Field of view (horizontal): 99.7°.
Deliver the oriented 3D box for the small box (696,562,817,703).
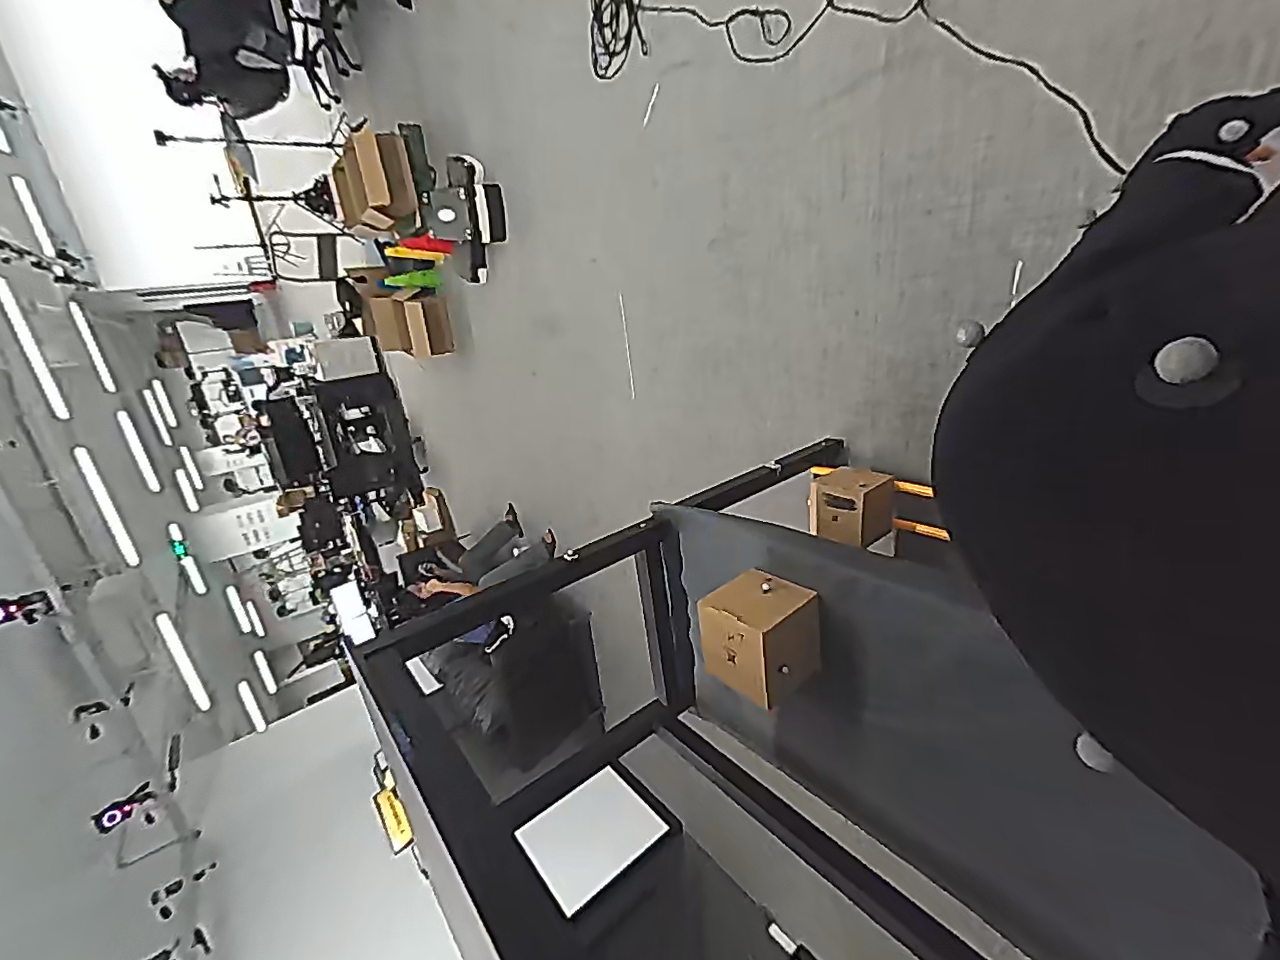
[{"bbox_3d":[0.233,0.290,1.064,0.168,0.176,0.179,16,120,49],"label":"small box"}]
